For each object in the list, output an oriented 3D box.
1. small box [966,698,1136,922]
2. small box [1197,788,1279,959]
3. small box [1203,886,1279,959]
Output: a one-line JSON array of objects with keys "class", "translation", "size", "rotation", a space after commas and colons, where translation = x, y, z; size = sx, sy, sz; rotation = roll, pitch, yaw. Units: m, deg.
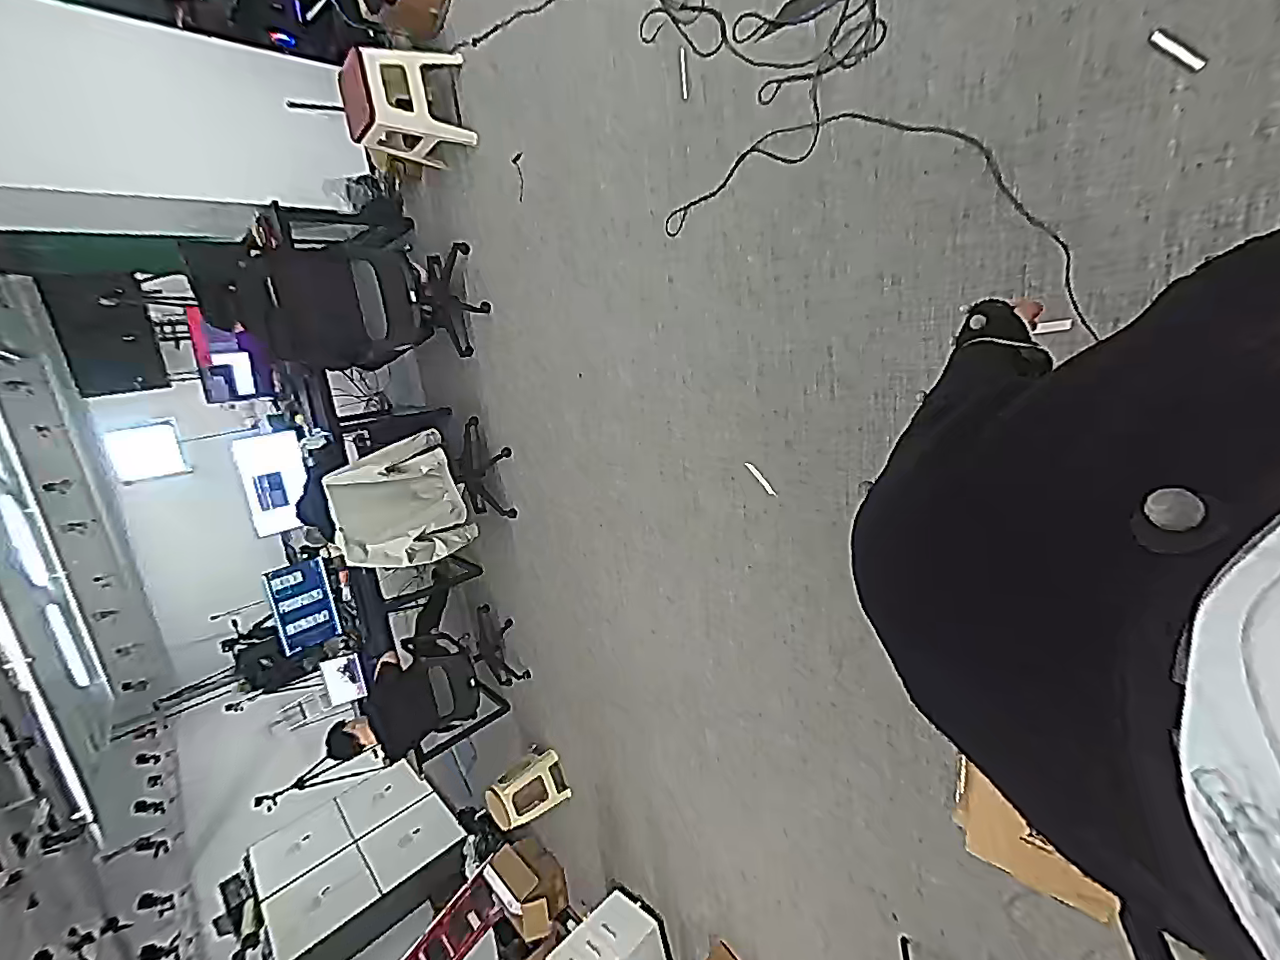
[{"class": "small box", "translation": [0.590, 0.454, 0.777], "size": [0.168, 0.176, 0.179], "rotation": [8, 108, 44]}, {"class": "small box", "translation": [0.756, 0.498, 0.603], "size": [0.168, 0.176, 0.179], "rotation": [9, 110, 48]}, {"class": "small box", "translation": [0.636, 0.540, 0.498], "size": [0.168, 0.176, 0.179], "rotation": [7, 108, 49]}]
